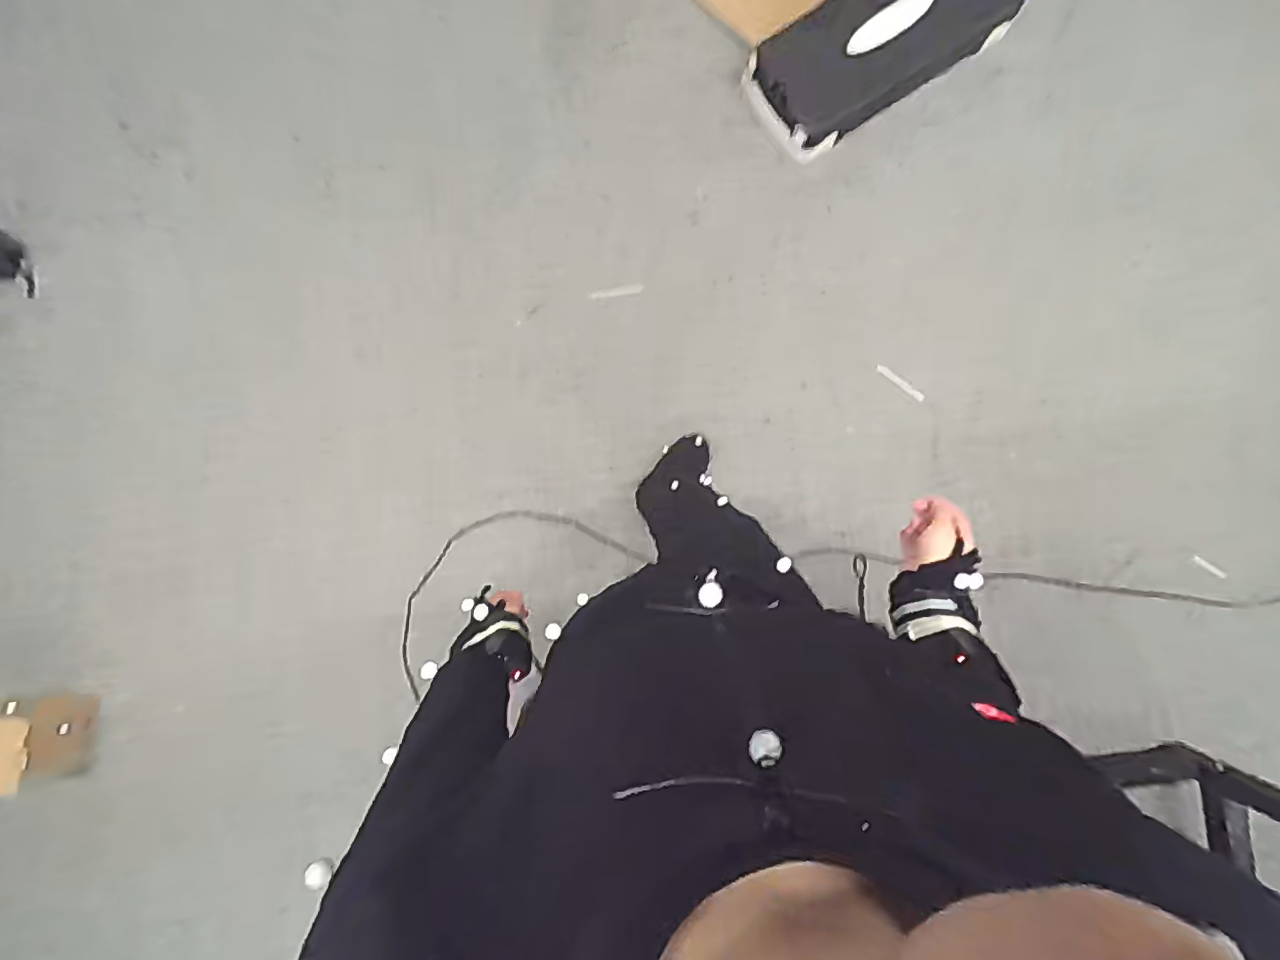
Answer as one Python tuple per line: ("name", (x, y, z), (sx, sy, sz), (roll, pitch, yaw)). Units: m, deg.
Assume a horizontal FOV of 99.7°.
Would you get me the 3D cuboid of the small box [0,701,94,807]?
("small box", (-1.436, 0.626, 1.254), (0.179, 0.176, 0.168), (3, 86, 1))
